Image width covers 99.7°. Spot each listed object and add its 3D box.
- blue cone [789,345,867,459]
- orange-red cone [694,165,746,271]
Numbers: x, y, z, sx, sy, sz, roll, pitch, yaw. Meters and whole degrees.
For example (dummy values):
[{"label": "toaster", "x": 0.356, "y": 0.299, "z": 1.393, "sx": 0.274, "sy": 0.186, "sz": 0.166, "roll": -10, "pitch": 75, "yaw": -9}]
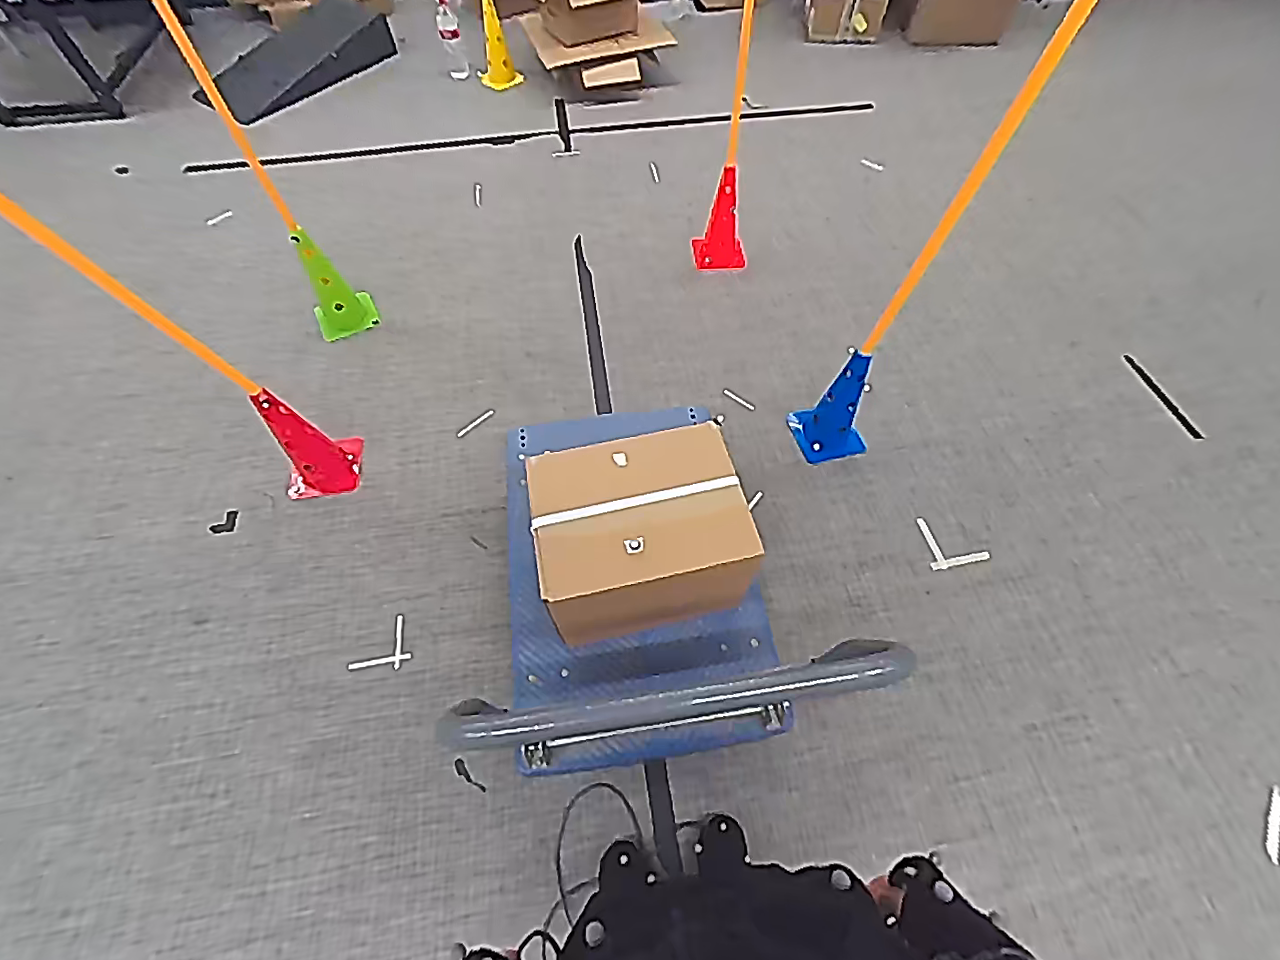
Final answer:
[{"label": "blue cone", "x": 0.588, "y": -0.239, "z": 1.581, "sx": 0.193, "sy": 0.380, "sz": 0.192, "roll": -11, "pitch": 58, "yaw": -7}, {"label": "orange-red cone", "x": 0.319, "y": -0.991, "z": 2.020, "sx": 0.199, "sy": 0.360, "sz": 0.198, "roll": -2, "pitch": 59, "yaw": -2}]
